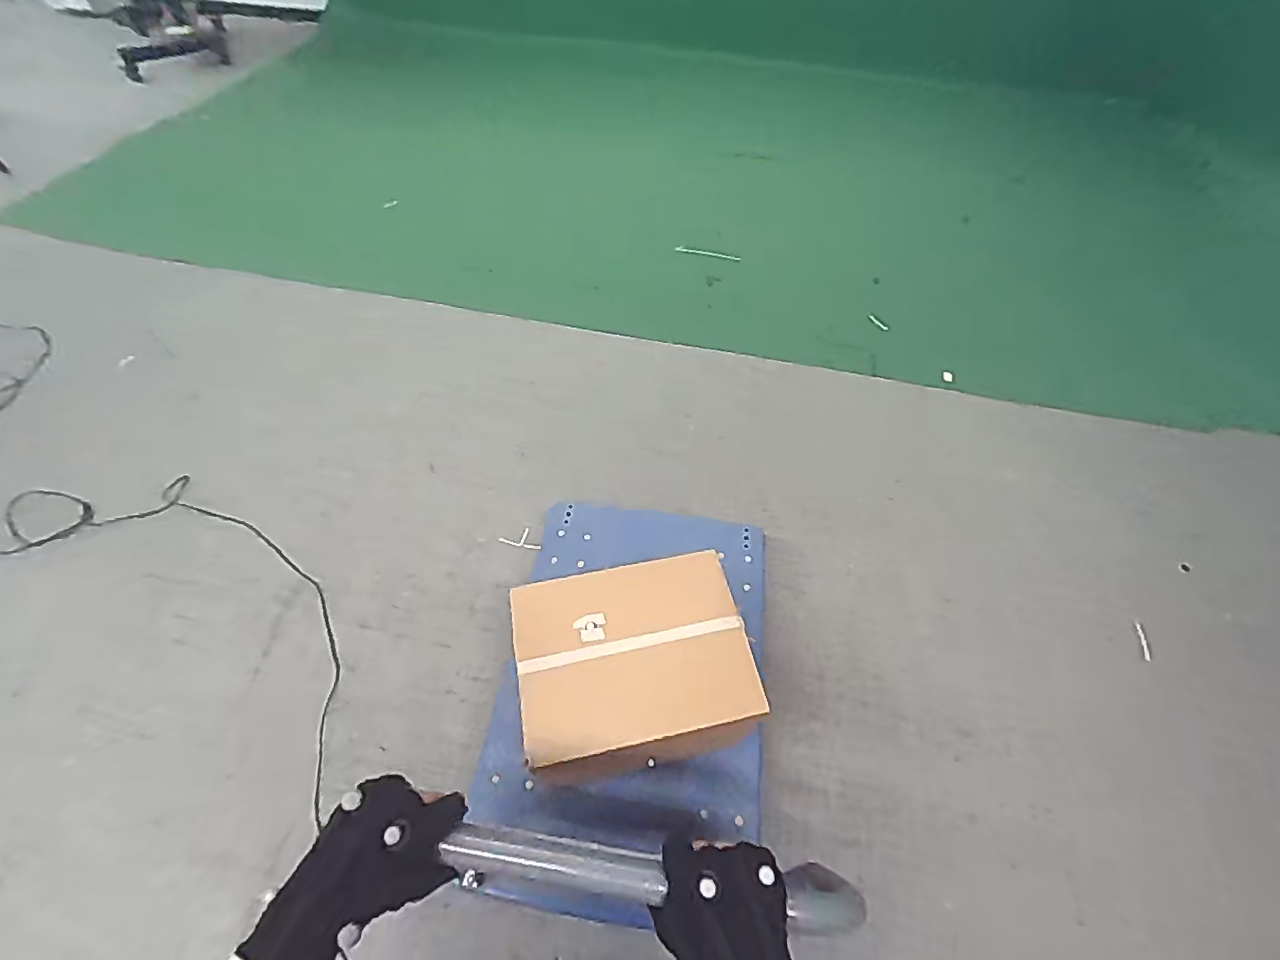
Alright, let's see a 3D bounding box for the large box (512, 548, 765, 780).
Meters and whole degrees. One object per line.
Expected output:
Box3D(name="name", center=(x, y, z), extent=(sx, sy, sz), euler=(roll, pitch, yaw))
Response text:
Box3D(name="large box", center=(-0.015, 0.373, 1.081), extent=(0.408, 0.320, 0.320), euler=(-10, 56, -7))
